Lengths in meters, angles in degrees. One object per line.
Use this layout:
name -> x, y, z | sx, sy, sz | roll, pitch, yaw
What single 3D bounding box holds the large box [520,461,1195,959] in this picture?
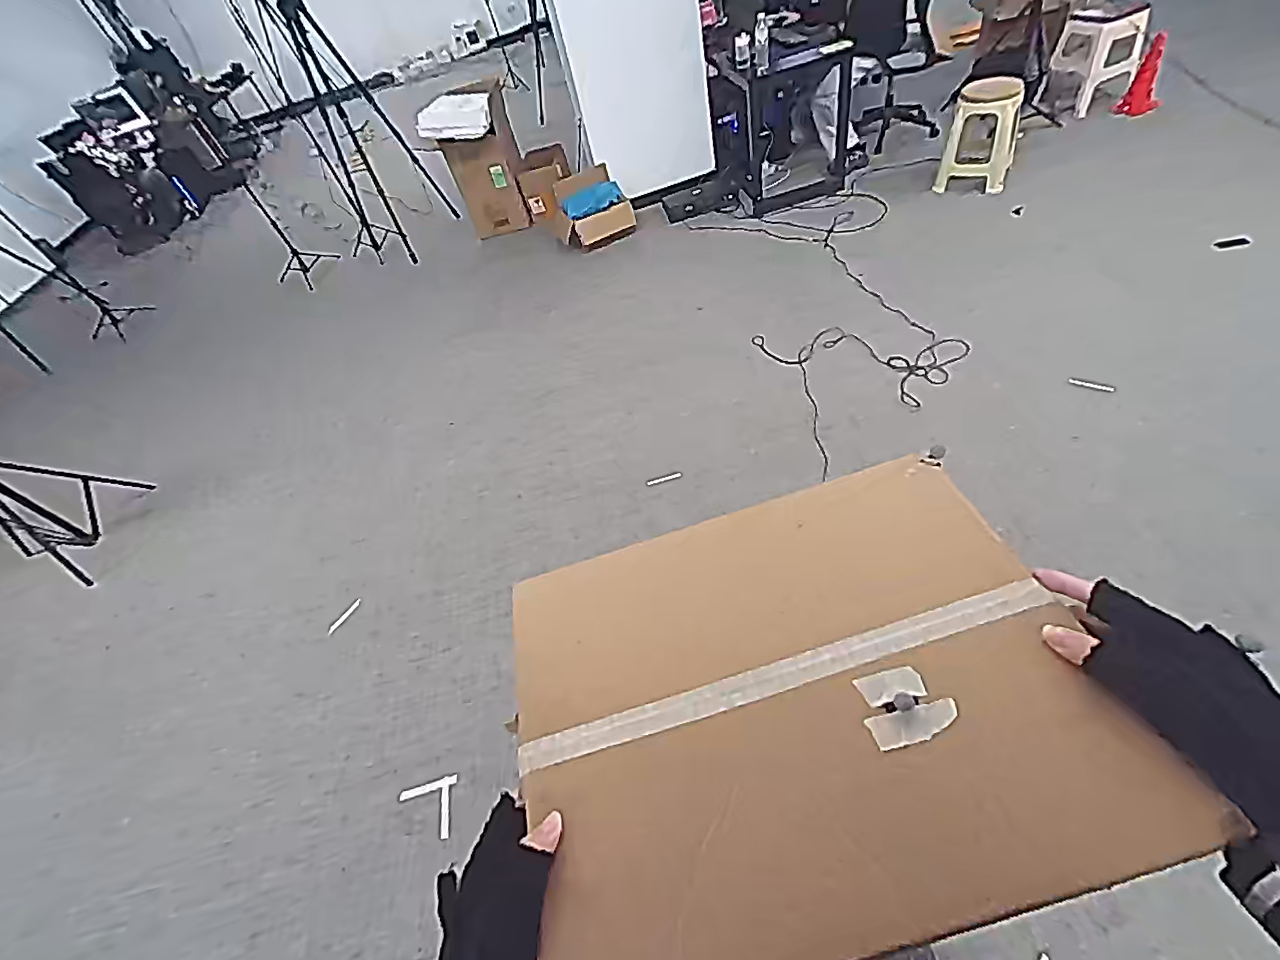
large box -> 0.137, 0.247, 0.524 | 0.408, 0.320, 0.320 | -18, 47, 1
